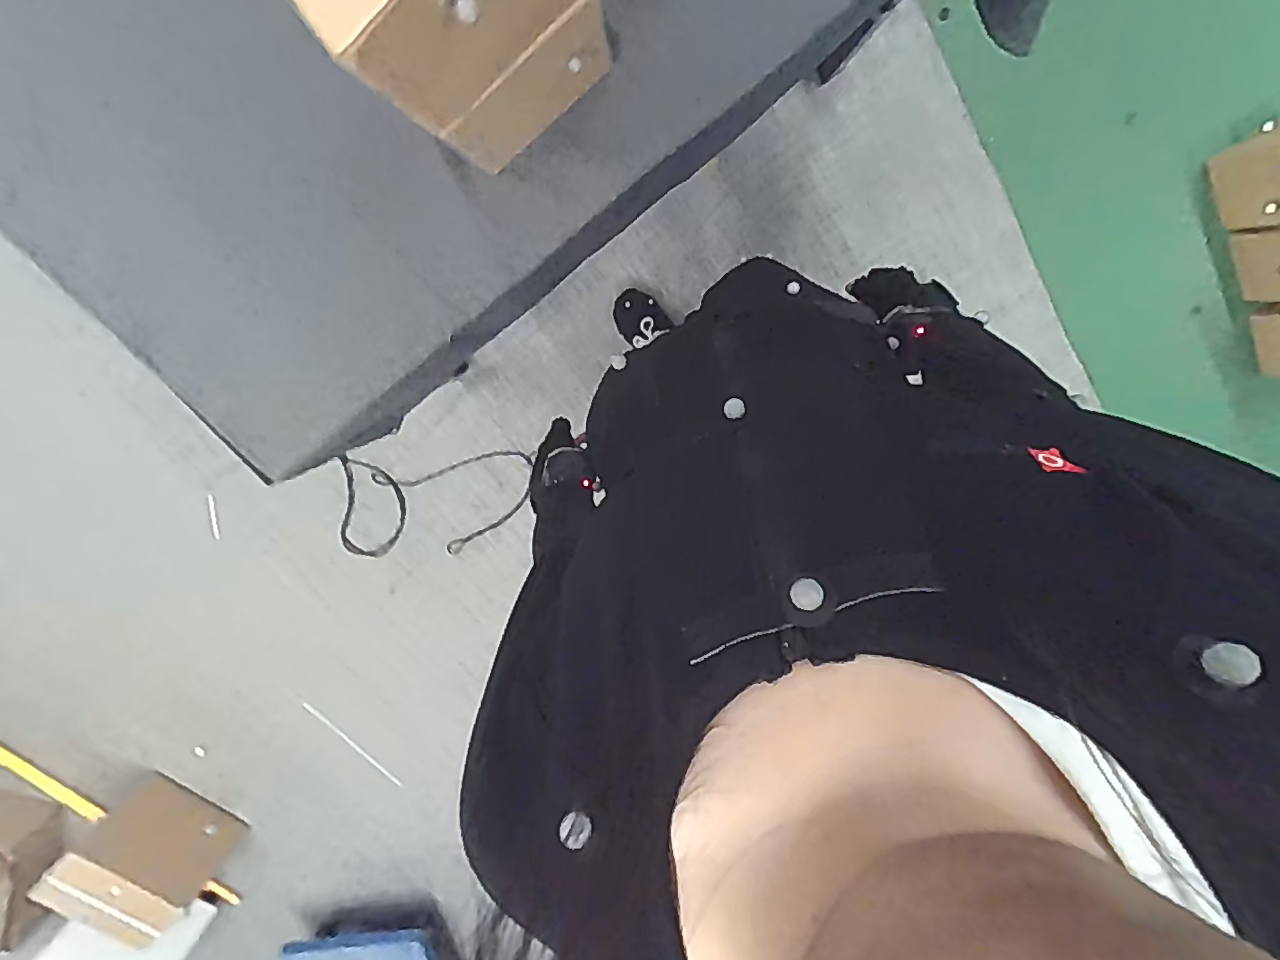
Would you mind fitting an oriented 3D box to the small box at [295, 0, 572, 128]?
[{"bbox_3d":[-0.155,-0.384,0.360,0.179,0.176,0.168,-35,105,13],"label":"small box"}]
